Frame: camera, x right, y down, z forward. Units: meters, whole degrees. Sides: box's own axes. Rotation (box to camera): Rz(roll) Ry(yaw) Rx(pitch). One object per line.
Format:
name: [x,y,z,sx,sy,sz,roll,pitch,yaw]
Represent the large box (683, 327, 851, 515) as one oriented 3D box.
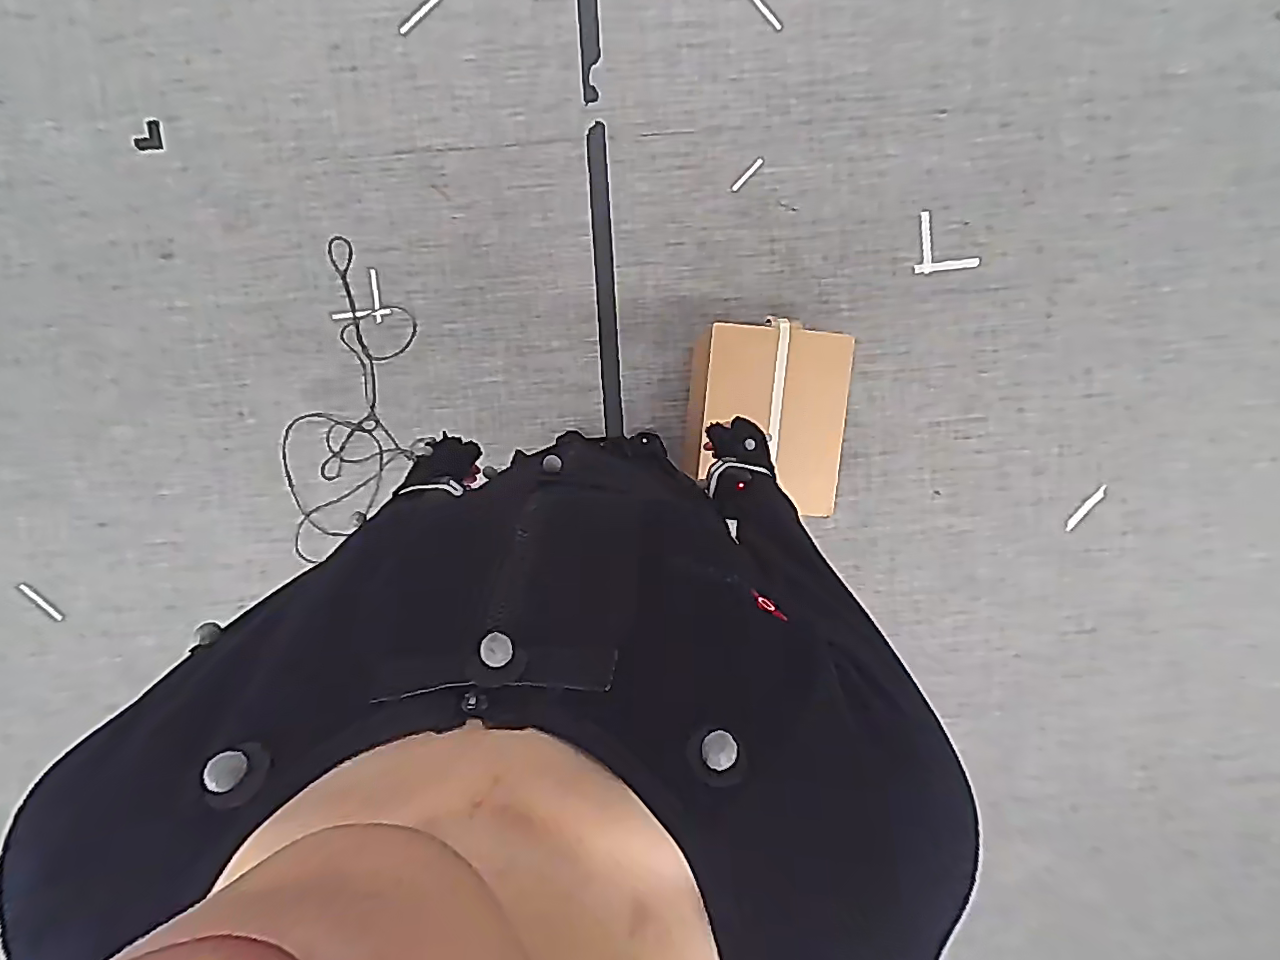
large box: [0.292,-0.147,1.348,0.320,0.320,0.408,5,97,-2]
